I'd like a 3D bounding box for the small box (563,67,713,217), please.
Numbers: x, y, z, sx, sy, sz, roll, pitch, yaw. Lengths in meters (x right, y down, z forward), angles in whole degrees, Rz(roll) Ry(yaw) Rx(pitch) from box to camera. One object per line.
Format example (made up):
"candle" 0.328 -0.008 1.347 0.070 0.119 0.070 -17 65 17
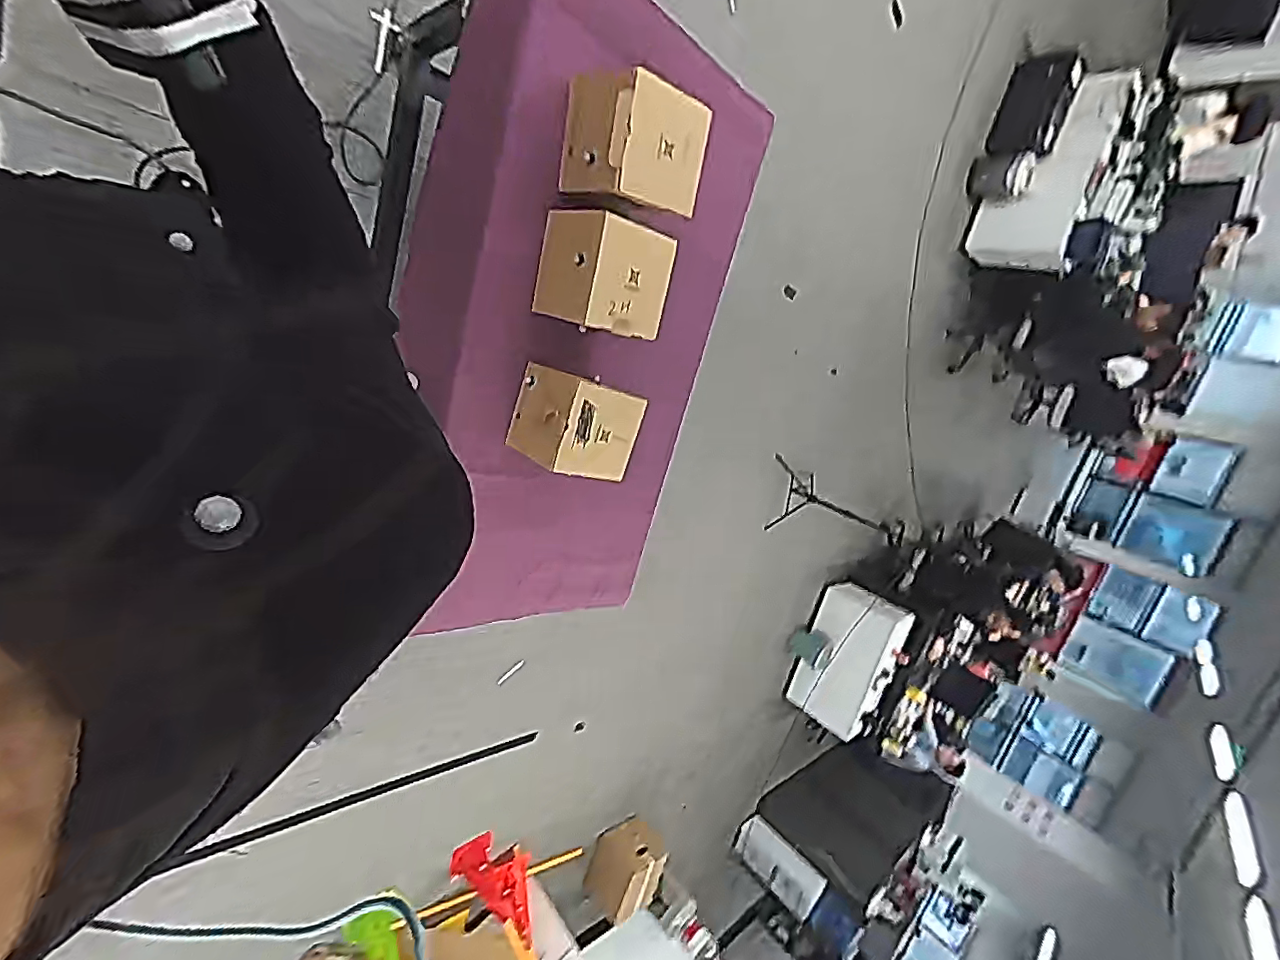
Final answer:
"small box" -0.010 -0.554 0.913 0.179 0.176 0.168 -6 116 -43

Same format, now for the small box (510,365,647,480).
"small box" -0.122 -0.111 1.036 0.179 0.176 0.168 8 105 -47
